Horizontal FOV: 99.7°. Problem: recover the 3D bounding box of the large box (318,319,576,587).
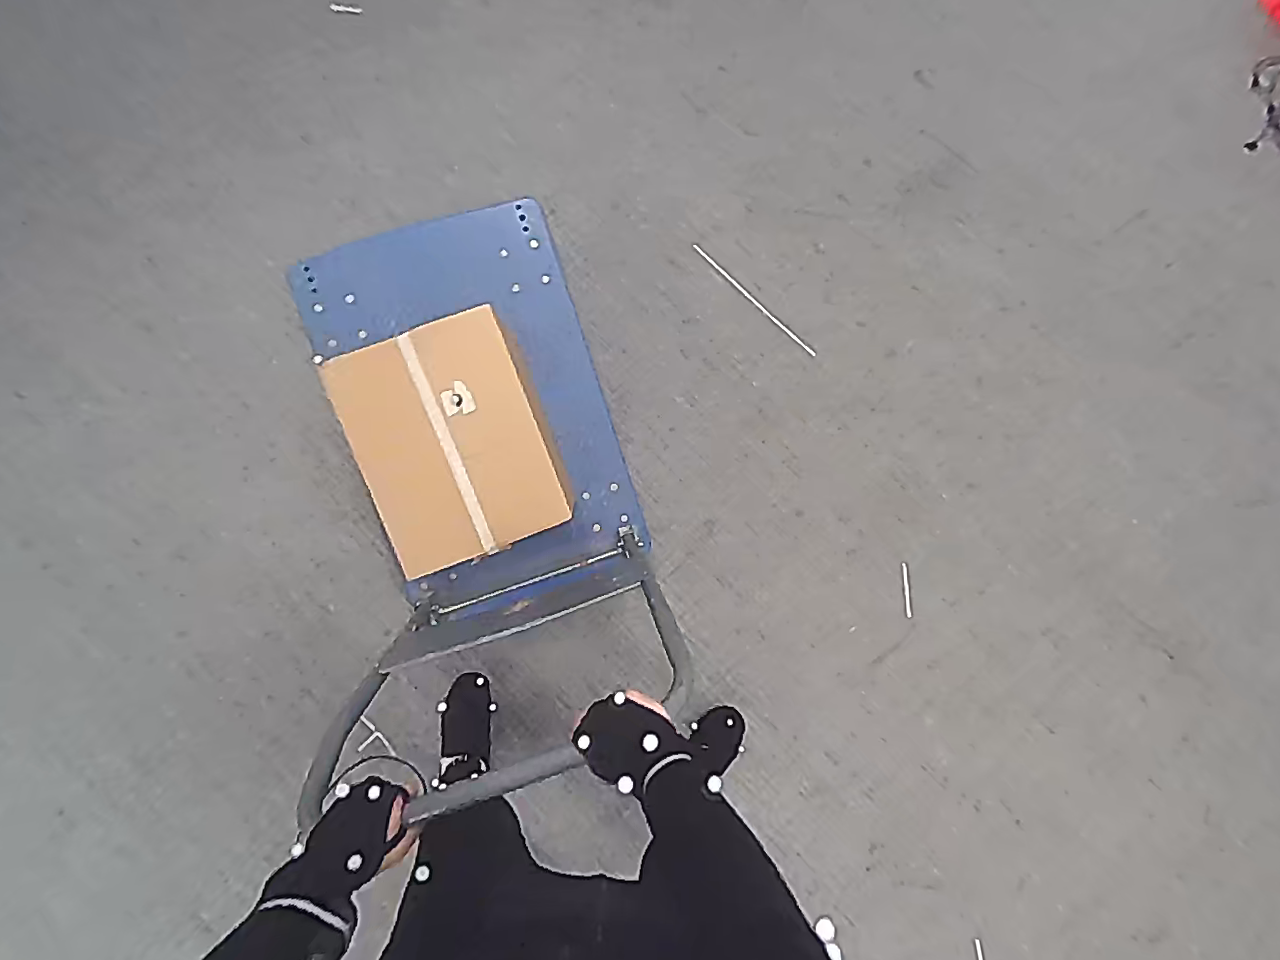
[{"bbox_3d":[-0.349,-0.055,1.098,0.320,0.320,0.408,-22,96,-4],"label":"large box"}]
